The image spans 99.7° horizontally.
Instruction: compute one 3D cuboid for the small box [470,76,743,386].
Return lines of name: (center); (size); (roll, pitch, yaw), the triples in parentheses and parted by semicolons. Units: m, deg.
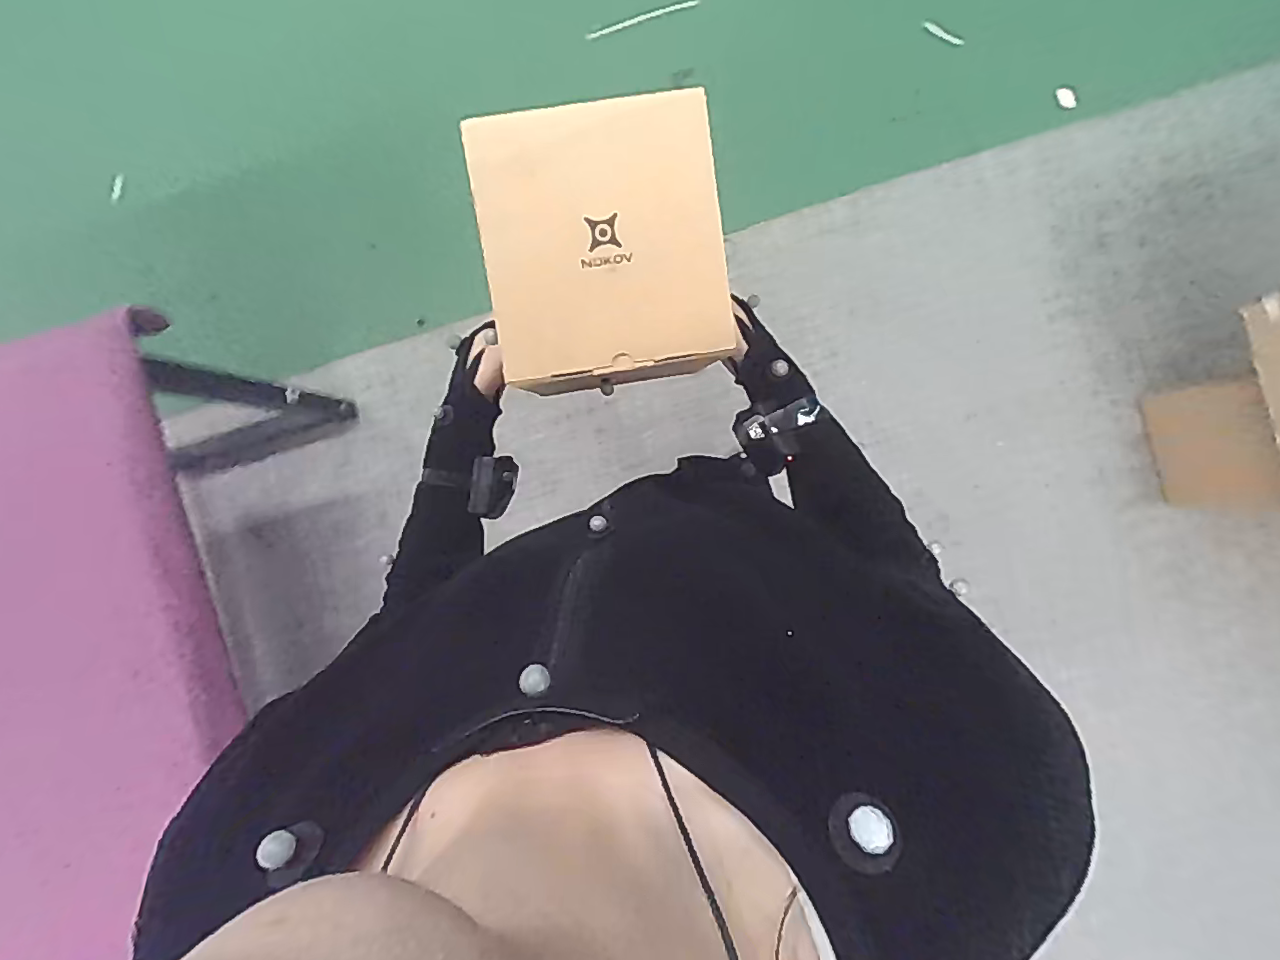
small box: (-0.024, -0.178, 0.438); (0.168, 0.176, 0.179); (-8, 97, -2)
